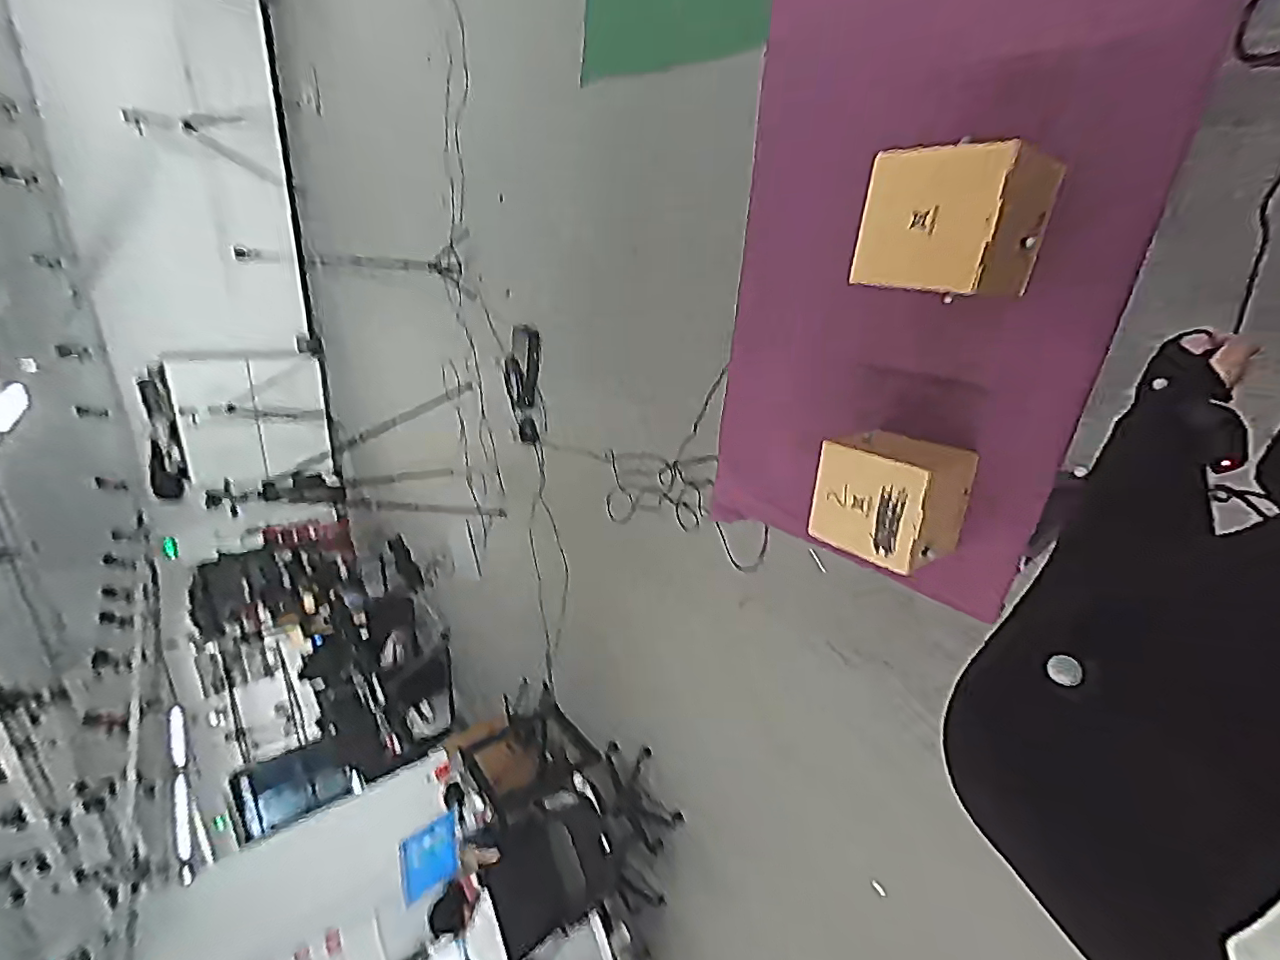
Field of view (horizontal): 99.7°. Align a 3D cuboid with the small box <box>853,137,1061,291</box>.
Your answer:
[{"bbox_3d":[0.434,-0.356,0.749,0.179,0.176,0.168,27,121,44],"label":"small box"}]
